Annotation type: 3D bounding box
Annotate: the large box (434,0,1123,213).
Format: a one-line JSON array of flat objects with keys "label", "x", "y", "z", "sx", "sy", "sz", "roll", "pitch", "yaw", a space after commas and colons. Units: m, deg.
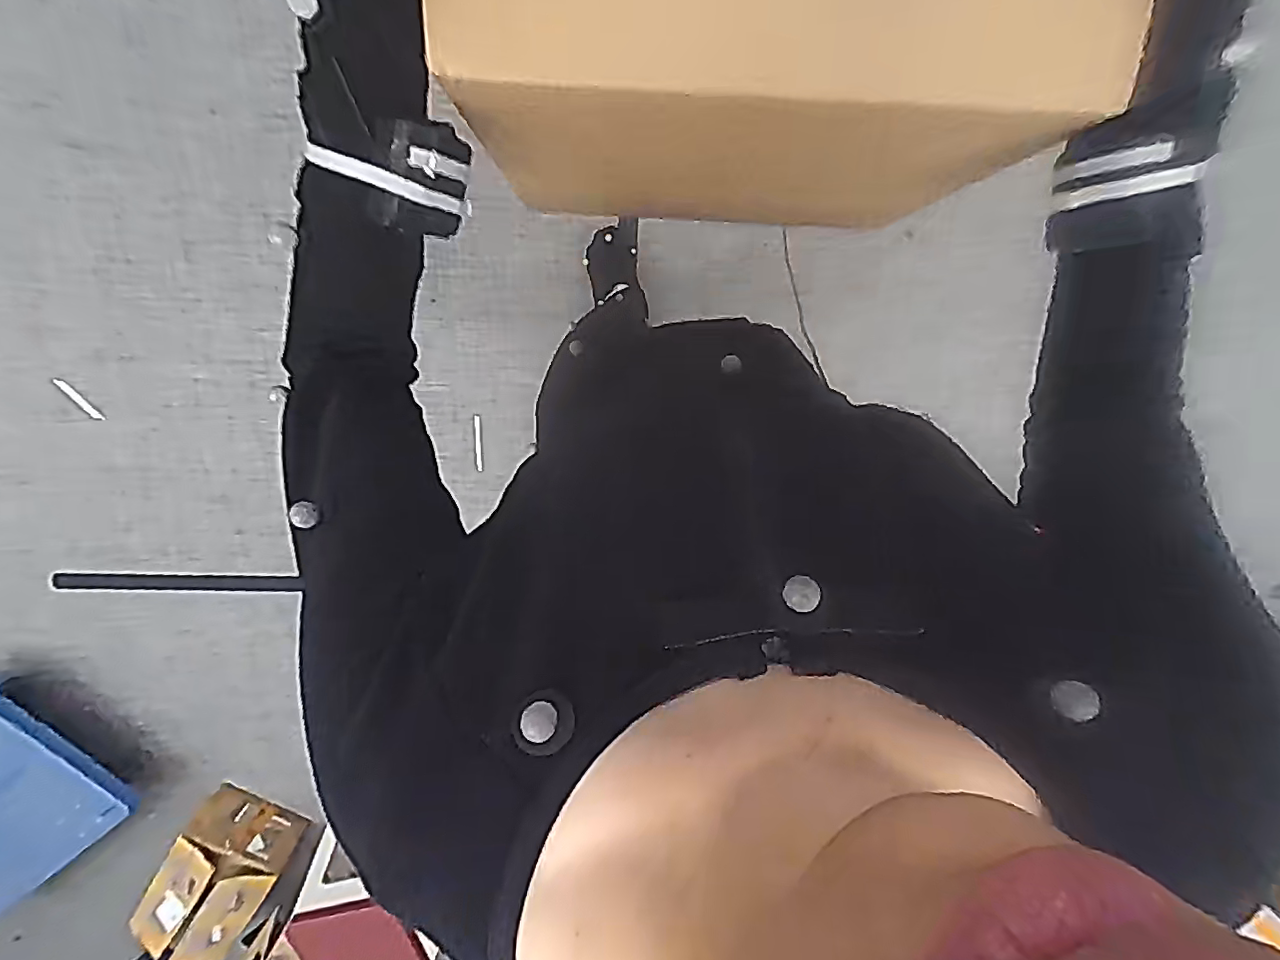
[{"label": "large box", "x": 0.078, "y": -0.419, "z": 0.427, "sx": 0.408, "sy": 0.320, "sz": 0.320, "roll": 1, "pitch": 103, "yaw": -2}]
